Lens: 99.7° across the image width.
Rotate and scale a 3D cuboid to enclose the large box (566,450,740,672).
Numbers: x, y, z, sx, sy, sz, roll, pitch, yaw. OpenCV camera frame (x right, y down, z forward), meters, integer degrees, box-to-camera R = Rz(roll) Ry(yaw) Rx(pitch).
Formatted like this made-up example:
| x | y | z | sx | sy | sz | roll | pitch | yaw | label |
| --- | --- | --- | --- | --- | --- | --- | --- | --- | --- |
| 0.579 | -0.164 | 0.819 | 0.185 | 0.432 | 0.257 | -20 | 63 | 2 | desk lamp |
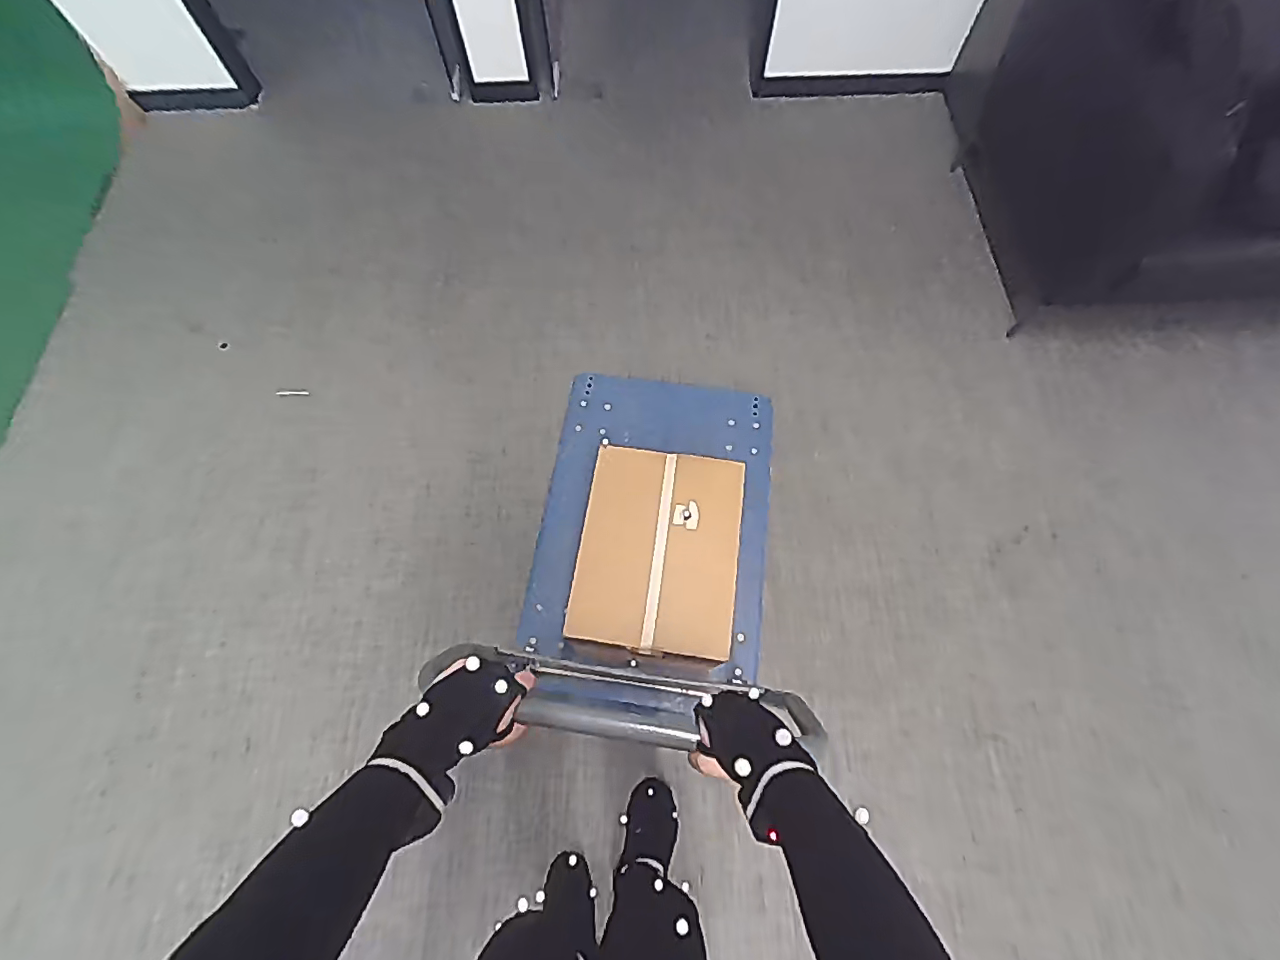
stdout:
| x | y | z | sx | sy | sz | roll | pitch | yaw | label |
| --- | --- | --- | --- | --- | --- | --- | --- | --- | --- |
| 0.037 | 0.193 | 1.210 | 0.320 | 0.320 | 0.408 | 8 | 67 | 2 | large box |
